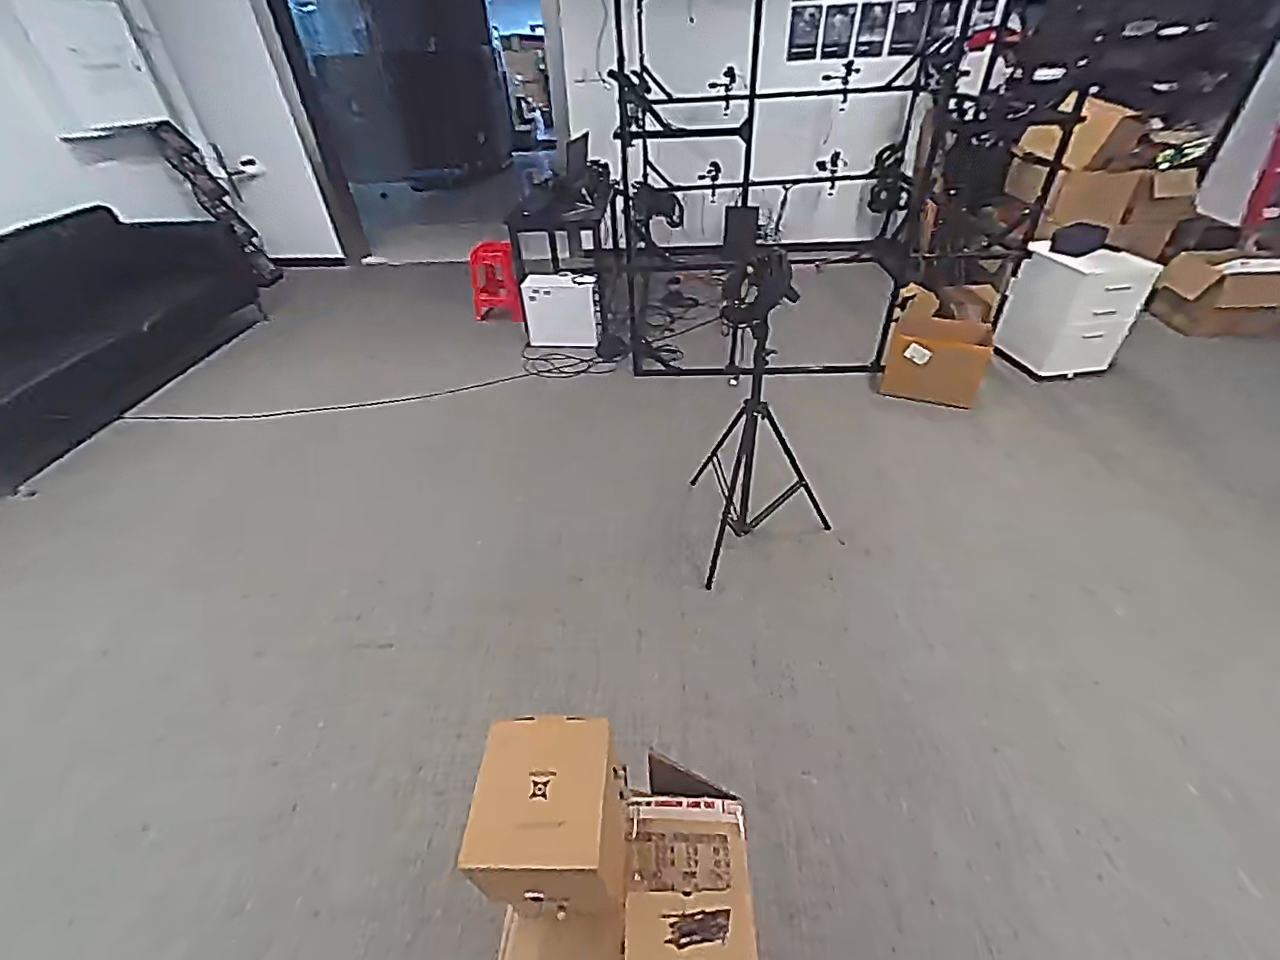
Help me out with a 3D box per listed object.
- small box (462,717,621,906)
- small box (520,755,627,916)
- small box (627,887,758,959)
[{"bbox_3d":[-0.116,0.443,0.727,0.168,0.176,0.179,-3,41,4],"label":"small box"},{"bbox_3d":[-0.111,0.553,0.849,0.168,0.176,0.179,-2,41,4],"label":"small box"},{"bbox_3d":[0.066,0.662,0.707,0.168,0.176,0.179,-2,41,2],"label":"small box"}]
